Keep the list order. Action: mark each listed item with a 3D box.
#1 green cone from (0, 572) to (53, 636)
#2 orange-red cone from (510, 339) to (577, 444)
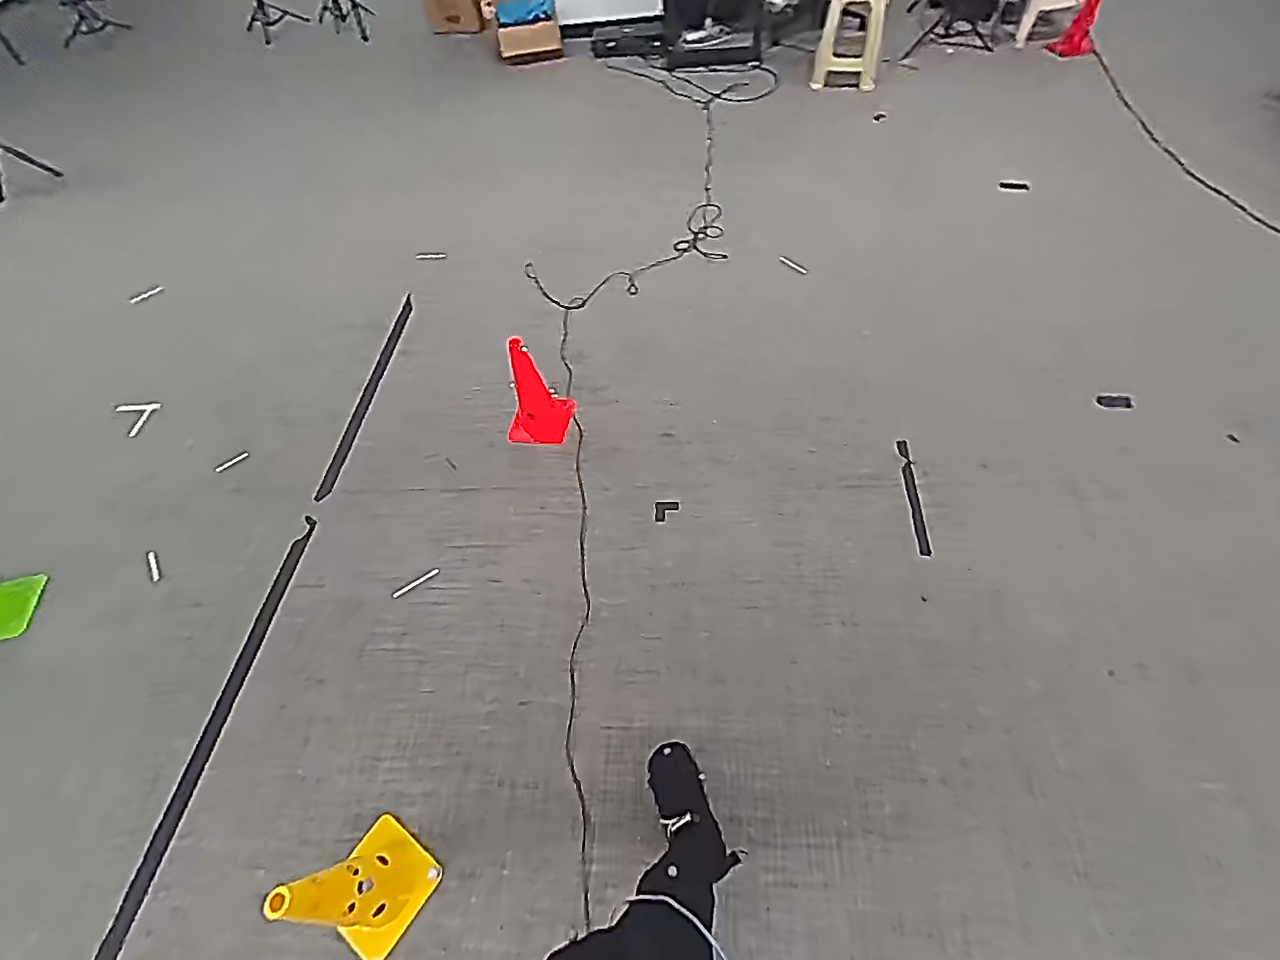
[{"bbox_3d":[-1.911,0.283,1.481,0.200,0.368,0.202,-13,54,-3],"label":"green cone"},{"bbox_3d":[-0.343,-0.299,1.716,0.198,0.360,0.199,6,58,11],"label":"orange-red cone"}]
